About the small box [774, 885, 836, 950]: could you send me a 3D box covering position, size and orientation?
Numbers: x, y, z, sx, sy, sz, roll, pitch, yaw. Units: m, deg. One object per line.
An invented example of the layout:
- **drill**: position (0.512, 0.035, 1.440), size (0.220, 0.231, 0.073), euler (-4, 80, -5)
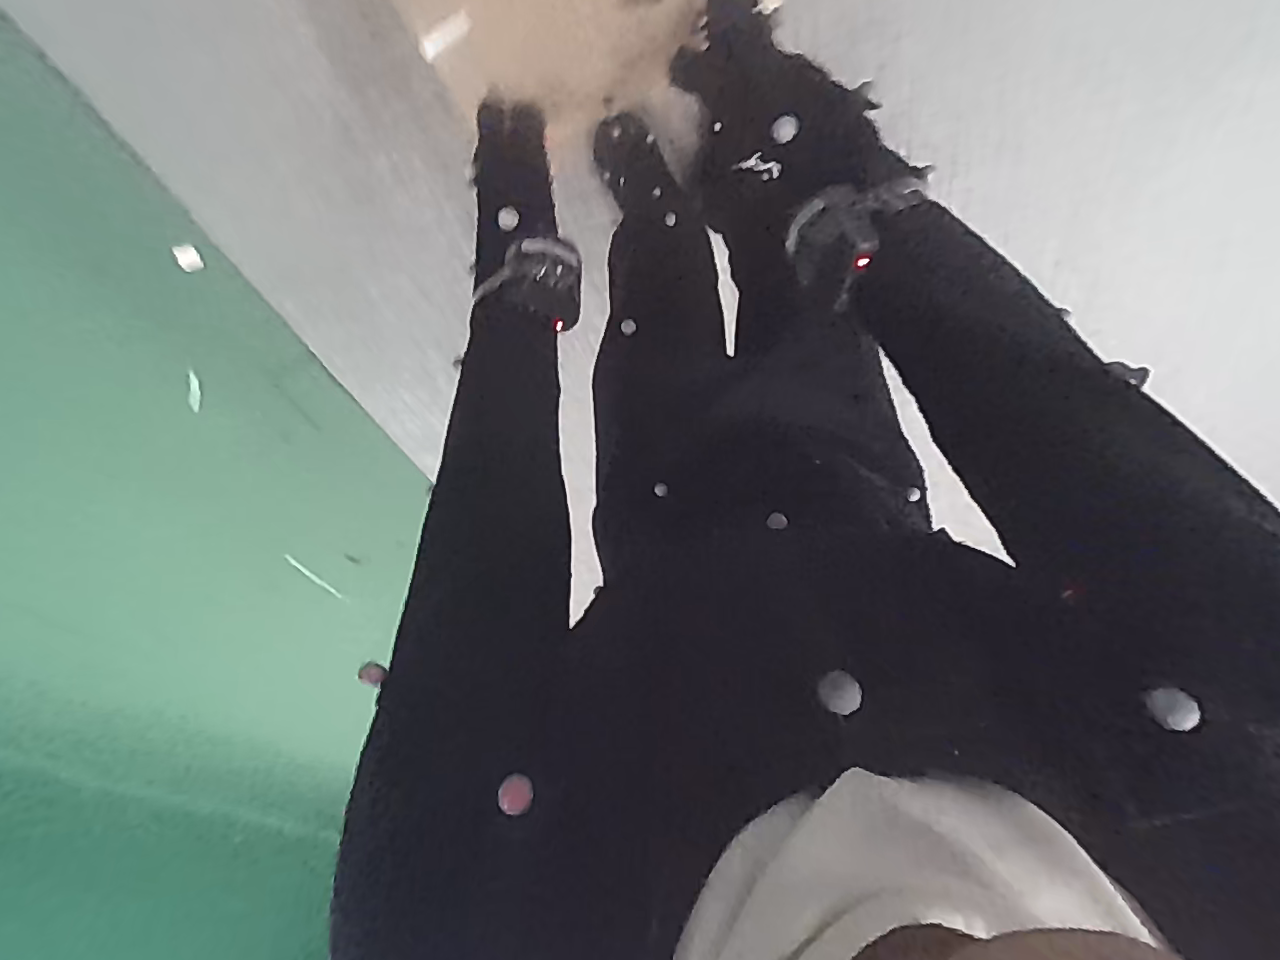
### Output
- **small box**: position (0.603, 1.600, 1.983), size (0.168, 0.176, 0.179), euler (-18, 134, 14)

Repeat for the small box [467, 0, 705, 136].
- **small box**: position (-0.047, -0.441, 0.493), size (0.179, 0.176, 0.168), euler (-15, 116, 16)
